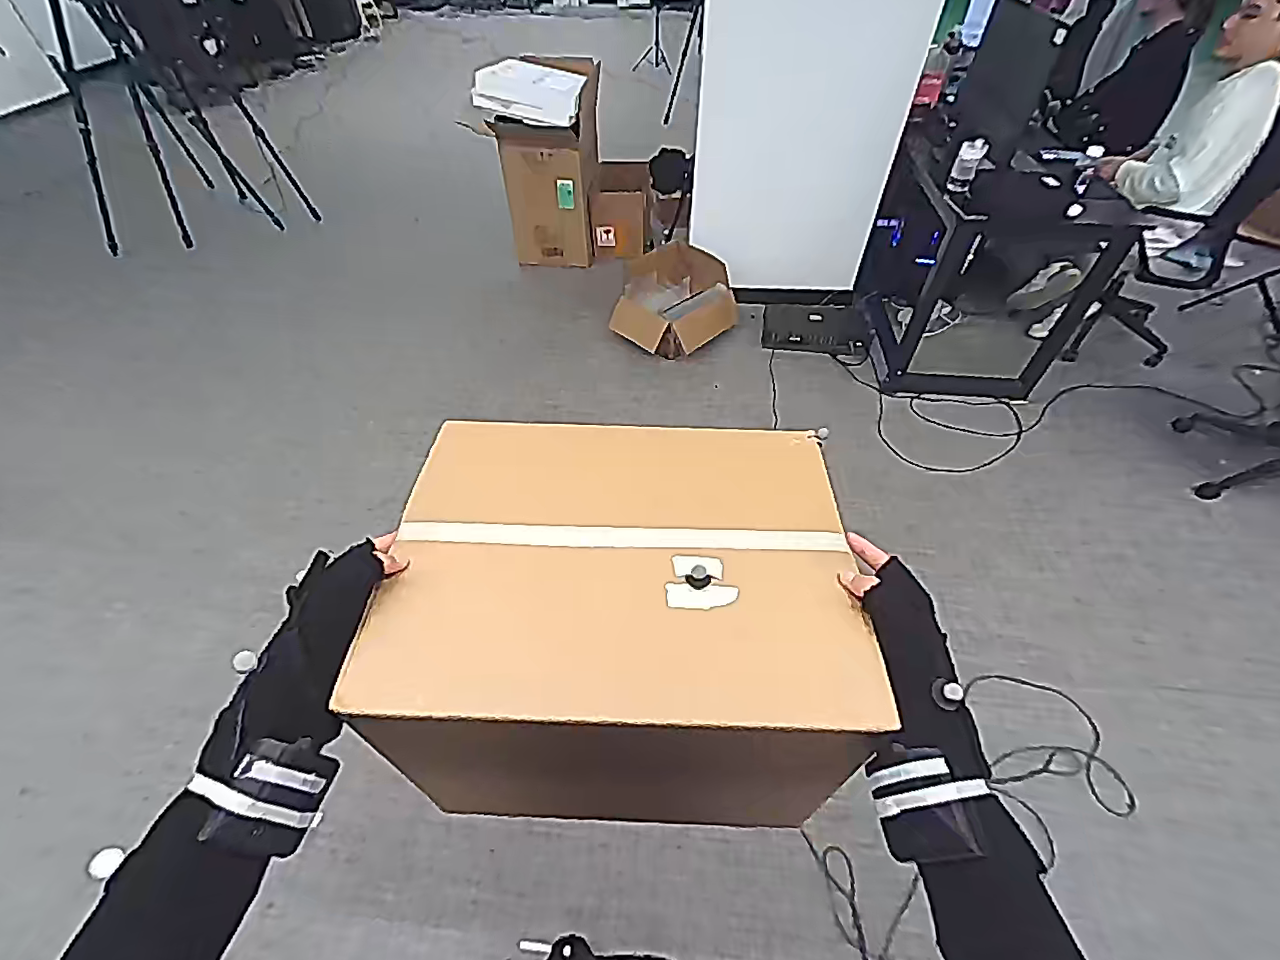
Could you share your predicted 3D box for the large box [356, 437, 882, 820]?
[{"bbox_3d":[-0.017,0.169,0.610,0.408,0.320,0.320,2,47,0],"label":"large box"}]
